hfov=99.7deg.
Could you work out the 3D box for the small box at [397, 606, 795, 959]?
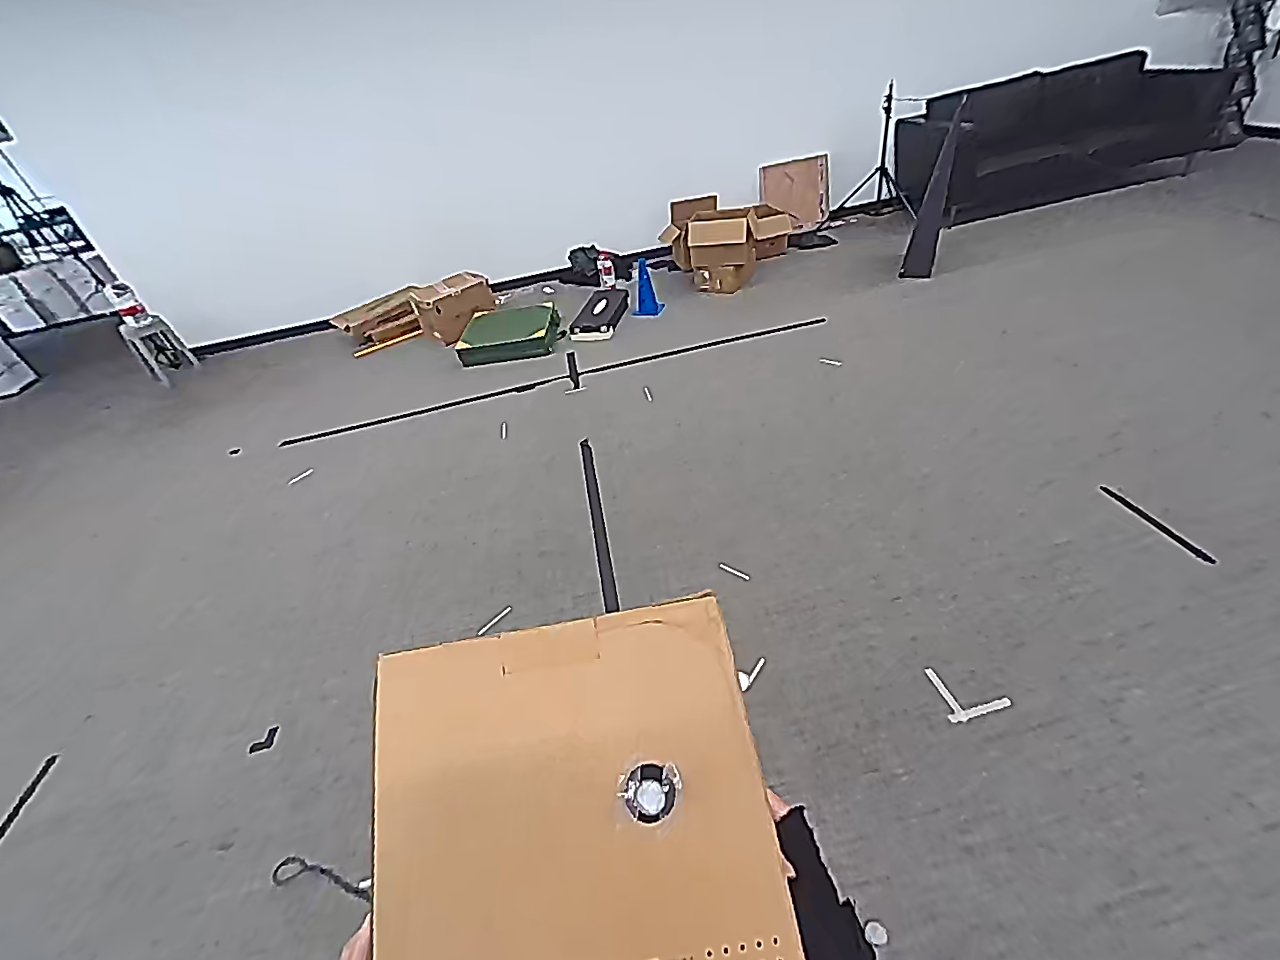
[{"bbox_3d":[-0.021,0.184,0.318,0.168,0.179,0.176,-10,68,0],"label":"small box"}]
